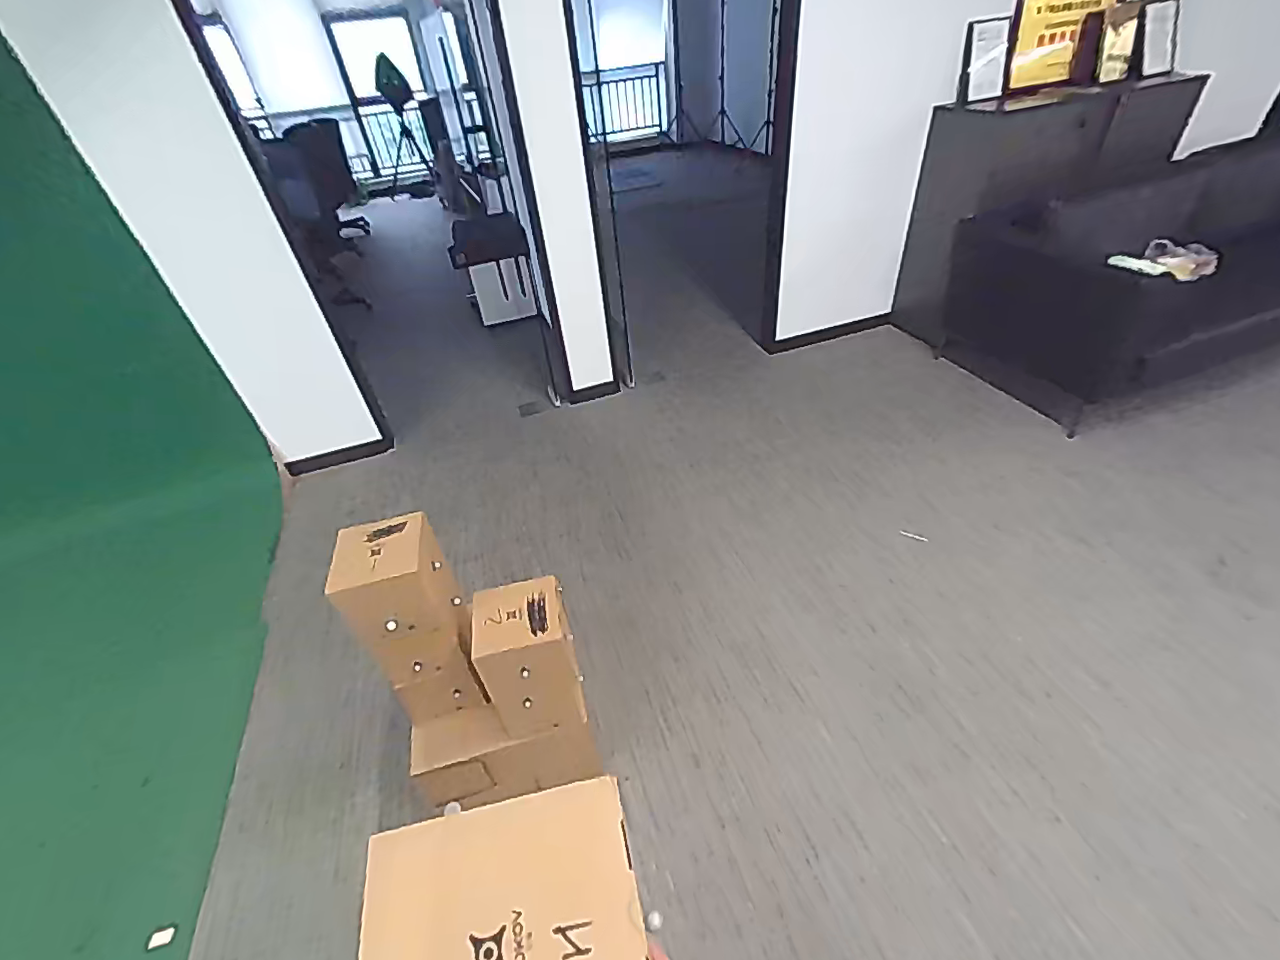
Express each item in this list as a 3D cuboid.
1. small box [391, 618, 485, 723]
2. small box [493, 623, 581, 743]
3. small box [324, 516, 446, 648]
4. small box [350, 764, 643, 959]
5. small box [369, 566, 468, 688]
[{"bbox_3d":[-0.475,0.455,1.294,0.168,0.176,0.179,-14,37,-9],"label":"small box"},{"bbox_3d":[-0.237,0.465,1.240,0.168,0.176,0.179,-12,37,-7],"label":"small box"},{"bbox_3d":[-0.498,0.203,1.087,0.168,0.176,0.179,-14,39,-8],"label":"small box"},{"bbox_3d":[-0.091,0.336,0.395,0.179,0.176,0.168,-9,49,-8],"label":"small box"},{"bbox_3d":[-0.487,0.323,1.197,0.168,0.176,0.179,-13,40,-9],"label":"small box"}]
